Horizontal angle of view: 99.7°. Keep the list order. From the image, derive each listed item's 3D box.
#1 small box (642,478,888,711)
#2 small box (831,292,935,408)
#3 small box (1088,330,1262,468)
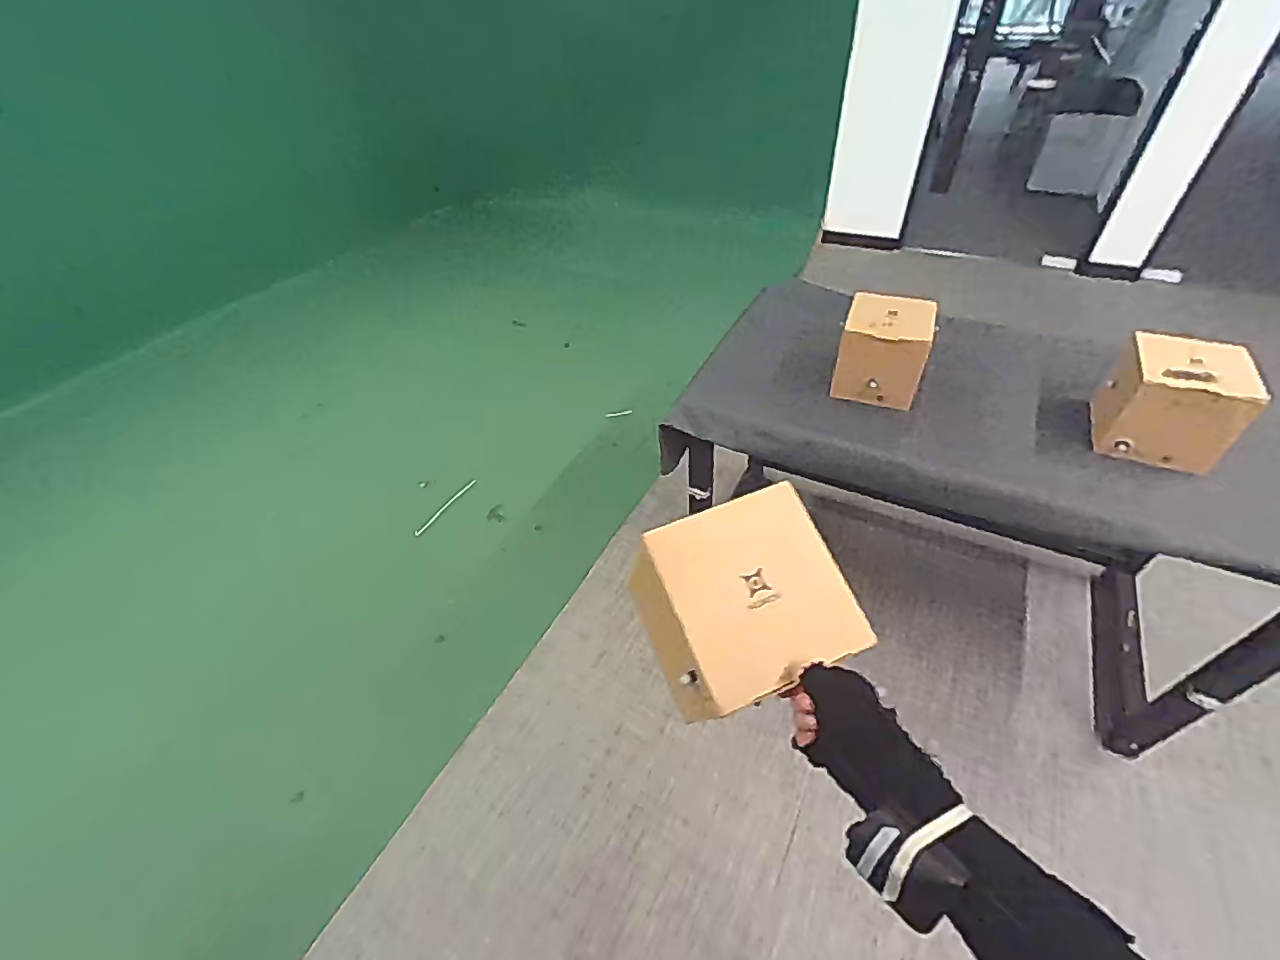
[{"bbox_3d":[0.112,0.127,0.573,0.168,0.176,0.179,-18,69,-15],"label":"small box"},{"bbox_3d":[0.524,-0.284,1.176,0.168,0.176,0.179,14,48,19],"label":"small box"},{"bbox_3d":[0.967,-0.149,0.998,0.168,0.176,0.179,18,48,22],"label":"small box"}]
